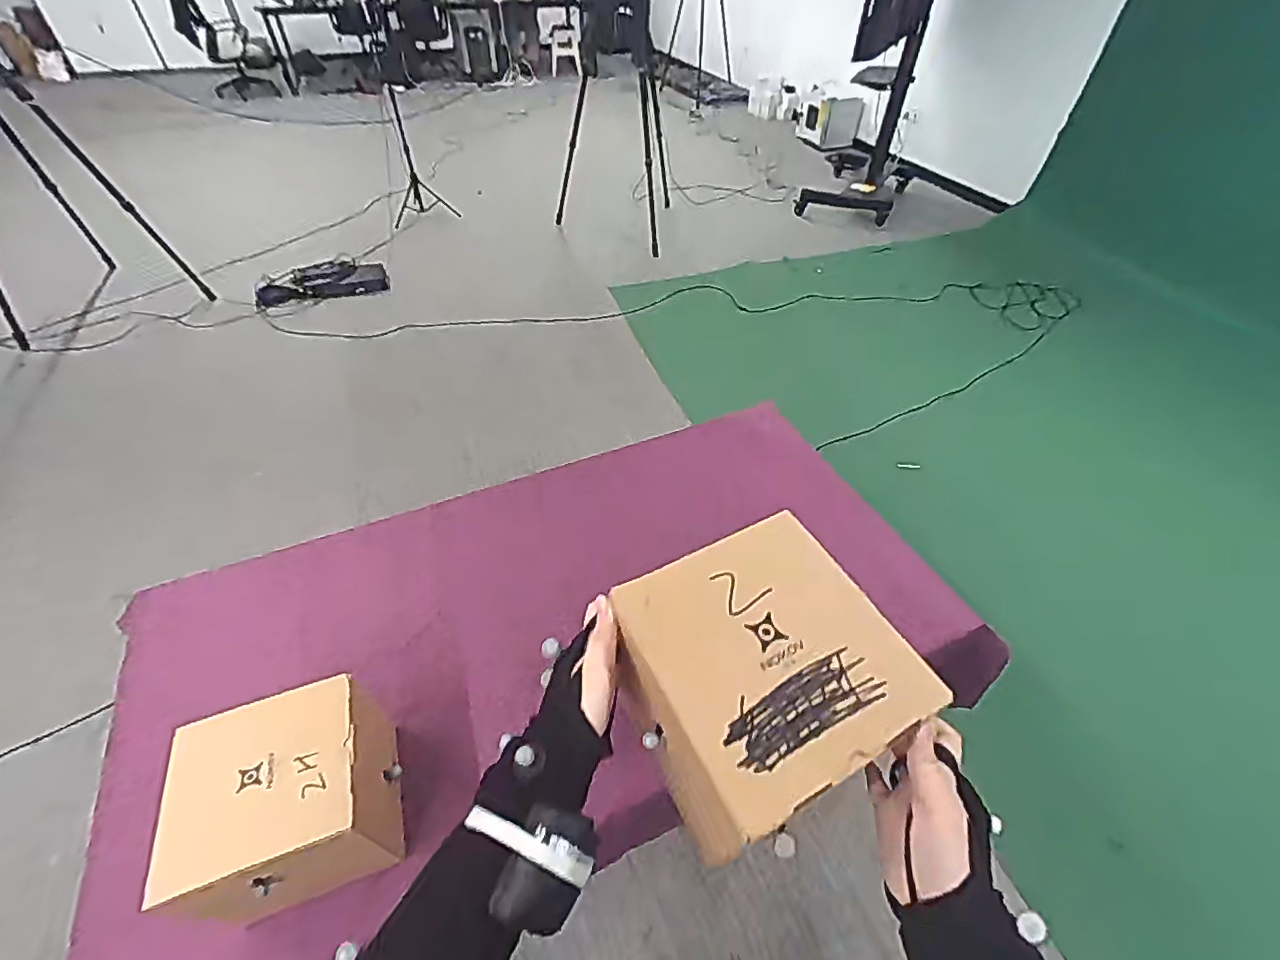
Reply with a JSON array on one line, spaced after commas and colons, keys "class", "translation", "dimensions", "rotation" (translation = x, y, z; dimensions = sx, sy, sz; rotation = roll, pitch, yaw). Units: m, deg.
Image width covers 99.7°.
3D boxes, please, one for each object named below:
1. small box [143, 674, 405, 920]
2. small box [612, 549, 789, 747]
[{"class": "small box", "translation": [-0.382, 0.353, 0.602], "dimensions": [0.179, 0.176, 0.168], "rotation": [-15, 48, -15]}, {"class": "small box", "translation": [0.070, 0.226, 0.729], "dimensions": [0.179, 0.176, 0.168], "rotation": [-16, 48, -14]}]
